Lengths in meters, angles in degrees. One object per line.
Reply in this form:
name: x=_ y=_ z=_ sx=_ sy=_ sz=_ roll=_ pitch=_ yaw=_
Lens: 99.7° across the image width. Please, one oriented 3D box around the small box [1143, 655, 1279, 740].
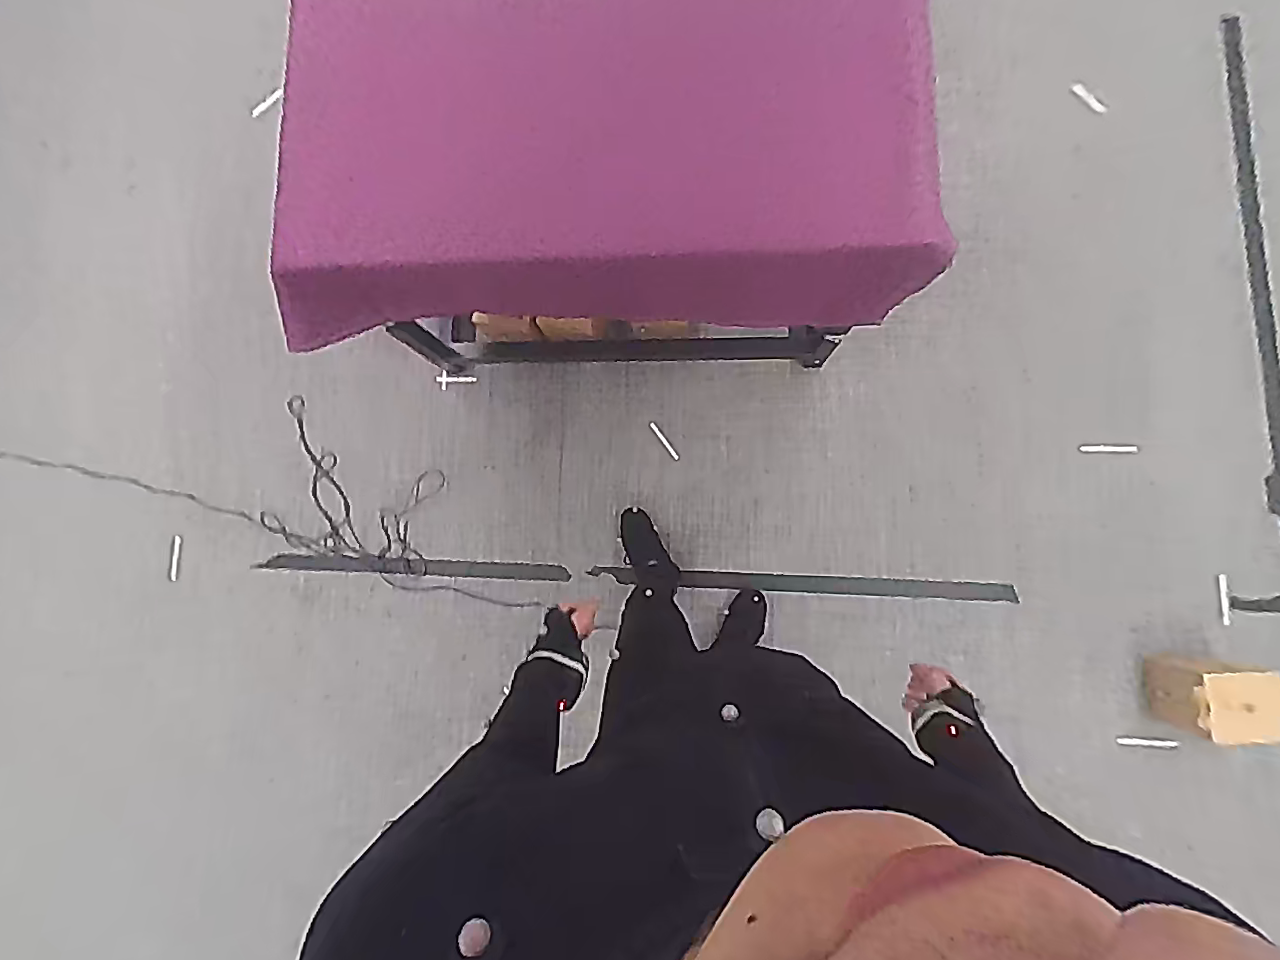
small box: x=1.457 y=0.550 z=1.385 sx=0.179 sy=0.176 sz=0.168 roll=-3 pitch=84 yaw=6
